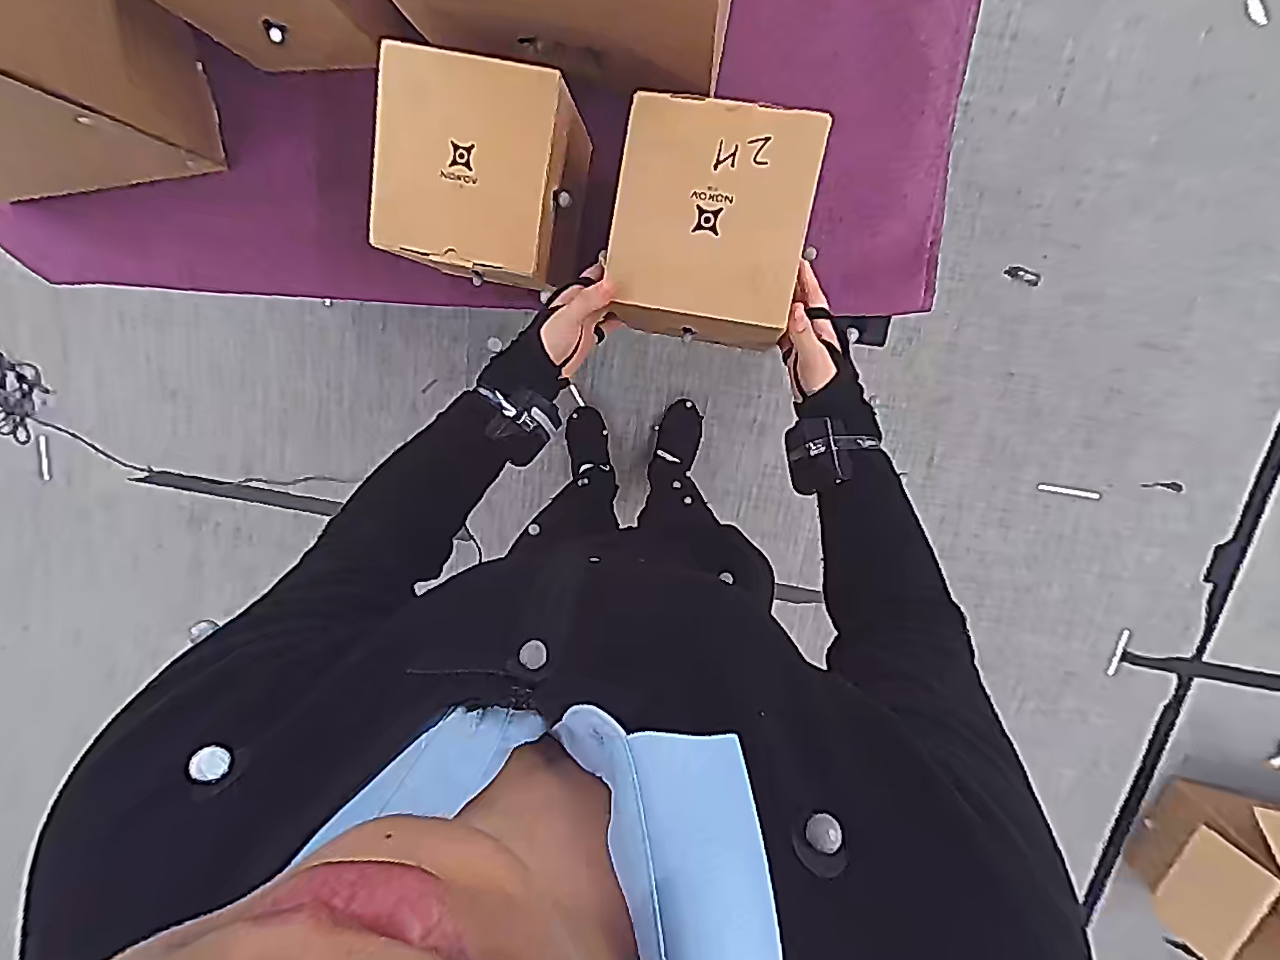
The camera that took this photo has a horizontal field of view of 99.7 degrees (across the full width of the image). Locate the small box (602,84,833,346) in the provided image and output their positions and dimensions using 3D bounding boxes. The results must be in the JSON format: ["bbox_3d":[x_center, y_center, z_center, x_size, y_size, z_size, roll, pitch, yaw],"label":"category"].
[{"bbox_3d":[0.072,-0.238,0.530,0.168,0.176,0.179,12,97,6],"label":"small box"}]
